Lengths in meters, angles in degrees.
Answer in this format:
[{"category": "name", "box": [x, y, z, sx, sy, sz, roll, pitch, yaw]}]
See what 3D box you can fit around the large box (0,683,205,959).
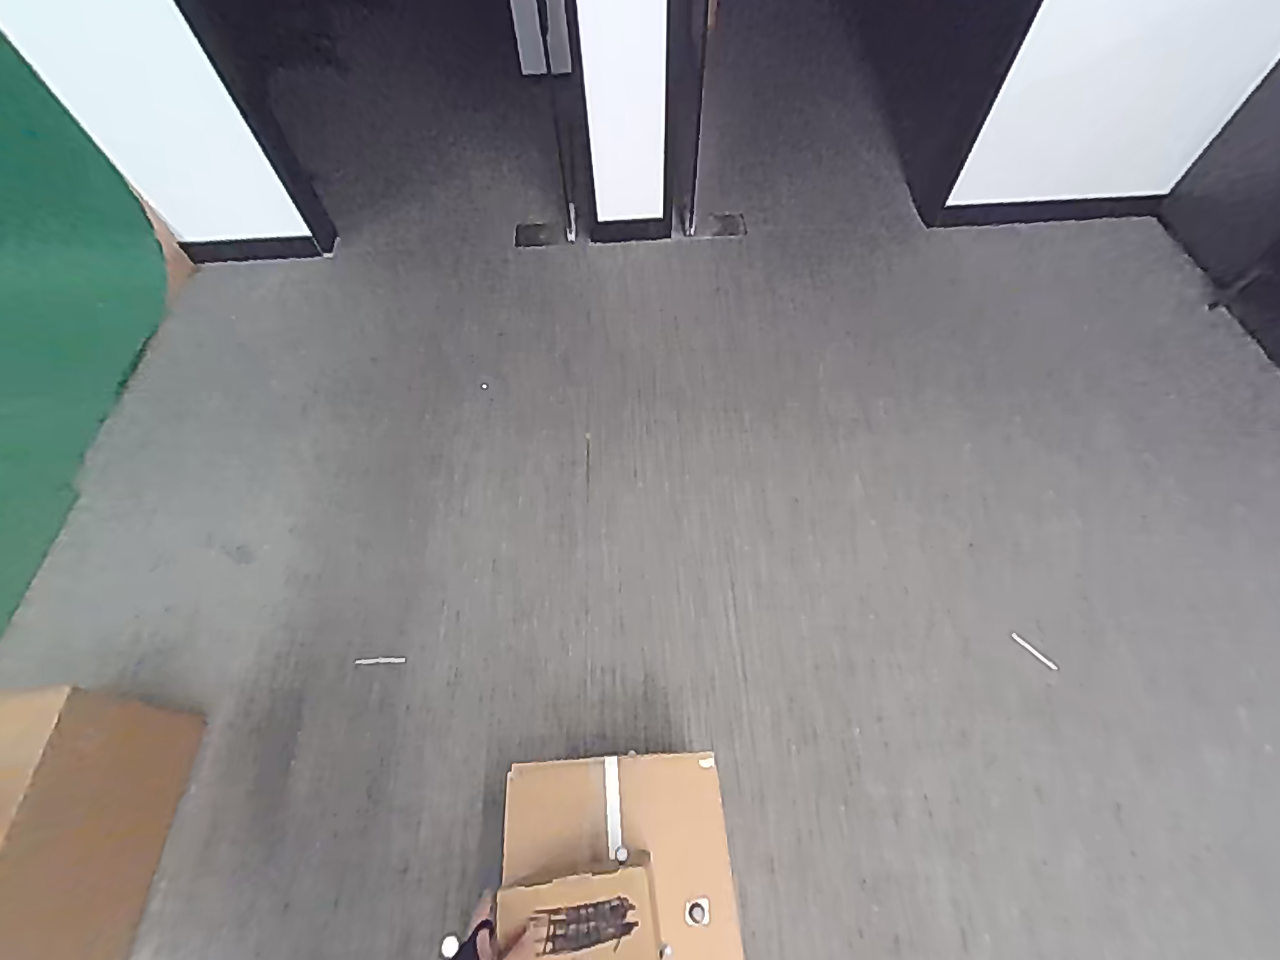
[{"category": "large box", "box": [-1.042, 0.590, 0.897, 0.320, 0.320, 0.408, -4, 58, -1]}]
